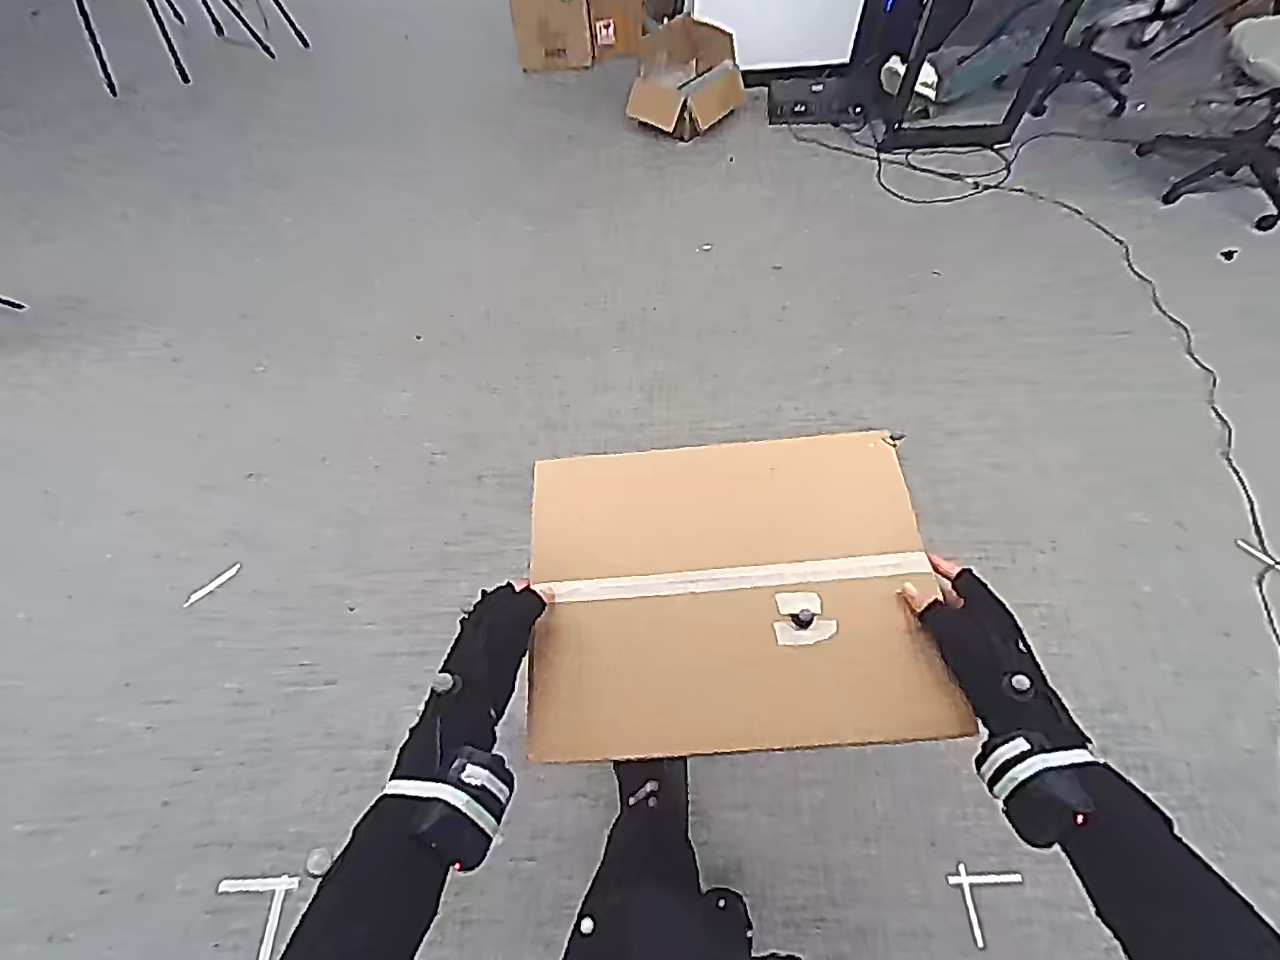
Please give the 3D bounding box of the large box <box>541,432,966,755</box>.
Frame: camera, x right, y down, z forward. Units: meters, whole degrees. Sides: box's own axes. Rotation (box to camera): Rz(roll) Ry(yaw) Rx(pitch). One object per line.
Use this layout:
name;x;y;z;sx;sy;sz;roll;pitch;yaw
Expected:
large box;0.101;0.164;0.697;0.408;0.320;0.320;-5;65;2
